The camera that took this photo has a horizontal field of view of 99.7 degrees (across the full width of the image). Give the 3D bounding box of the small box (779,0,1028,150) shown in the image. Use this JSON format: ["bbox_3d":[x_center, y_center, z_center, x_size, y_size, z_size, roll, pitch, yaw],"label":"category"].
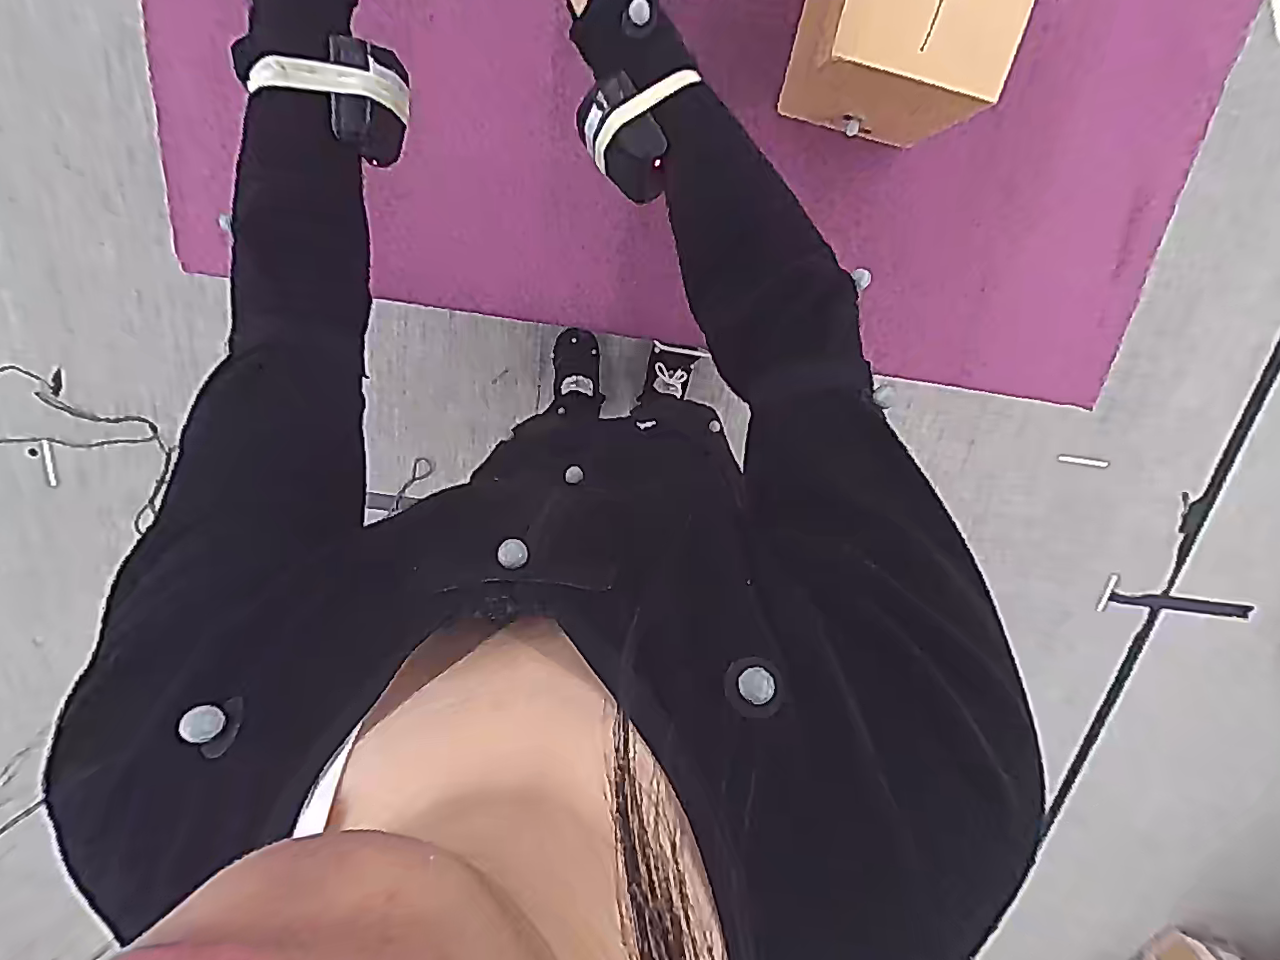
[{"bbox_3d":[0.257,-0.465,0.541,0.168,0.176,0.179,11,108,-7],"label":"small box"}]
